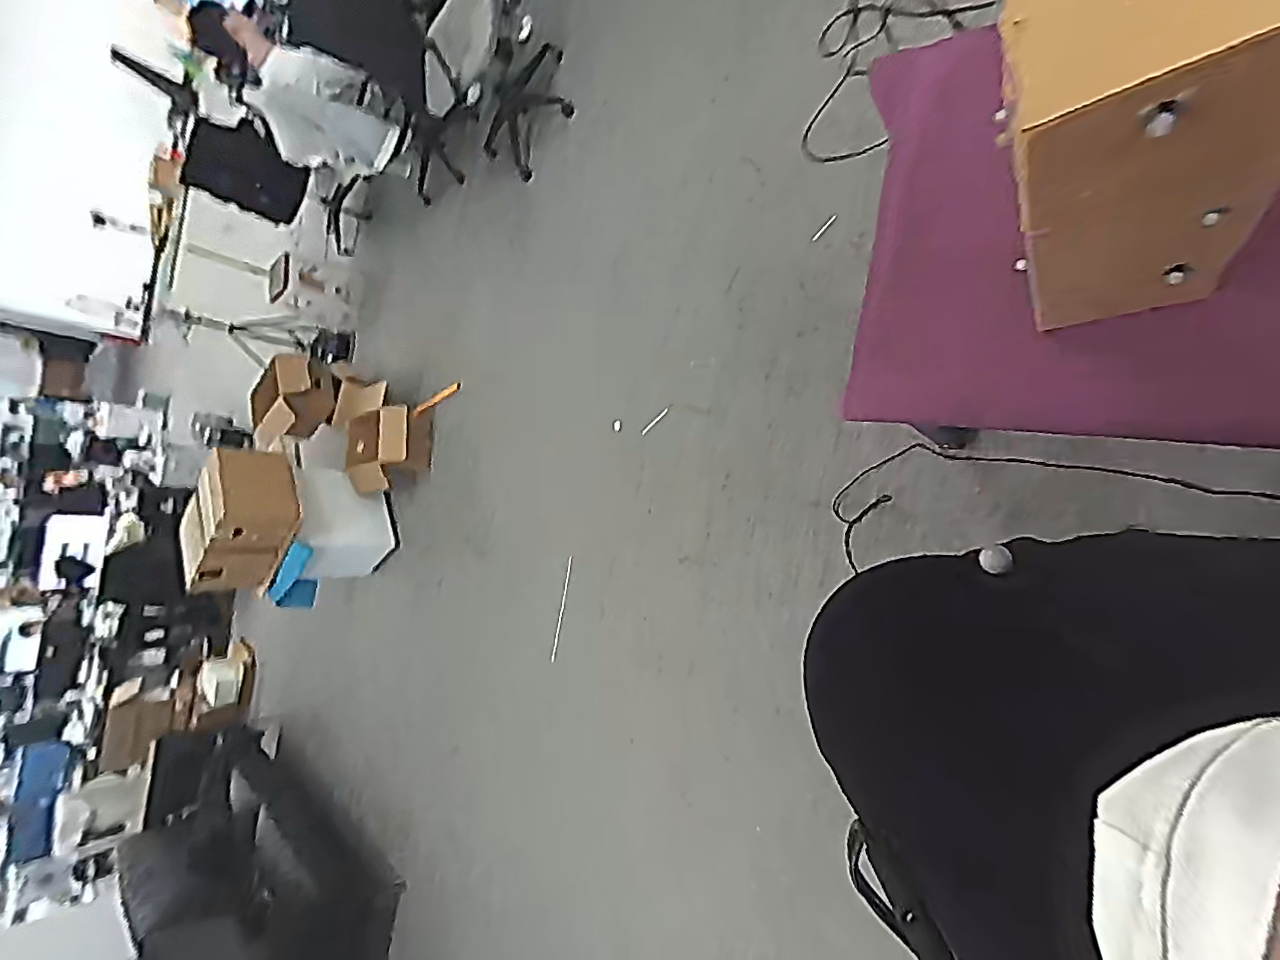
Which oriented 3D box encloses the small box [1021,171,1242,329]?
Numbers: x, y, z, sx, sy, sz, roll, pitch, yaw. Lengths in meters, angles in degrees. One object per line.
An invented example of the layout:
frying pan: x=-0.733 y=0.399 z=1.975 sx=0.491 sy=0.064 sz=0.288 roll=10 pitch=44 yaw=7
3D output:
small box: x=0.590 y=-0.308 z=0.673 sx=0.179 sy=0.176 sz=0.168 roll=-7 pitch=80 yaw=37

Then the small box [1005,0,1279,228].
small box: x=0.393 y=-0.331 z=0.414 sx=0.179 sy=0.176 sz=0.168 roll=-9 pitch=80 yaw=37
